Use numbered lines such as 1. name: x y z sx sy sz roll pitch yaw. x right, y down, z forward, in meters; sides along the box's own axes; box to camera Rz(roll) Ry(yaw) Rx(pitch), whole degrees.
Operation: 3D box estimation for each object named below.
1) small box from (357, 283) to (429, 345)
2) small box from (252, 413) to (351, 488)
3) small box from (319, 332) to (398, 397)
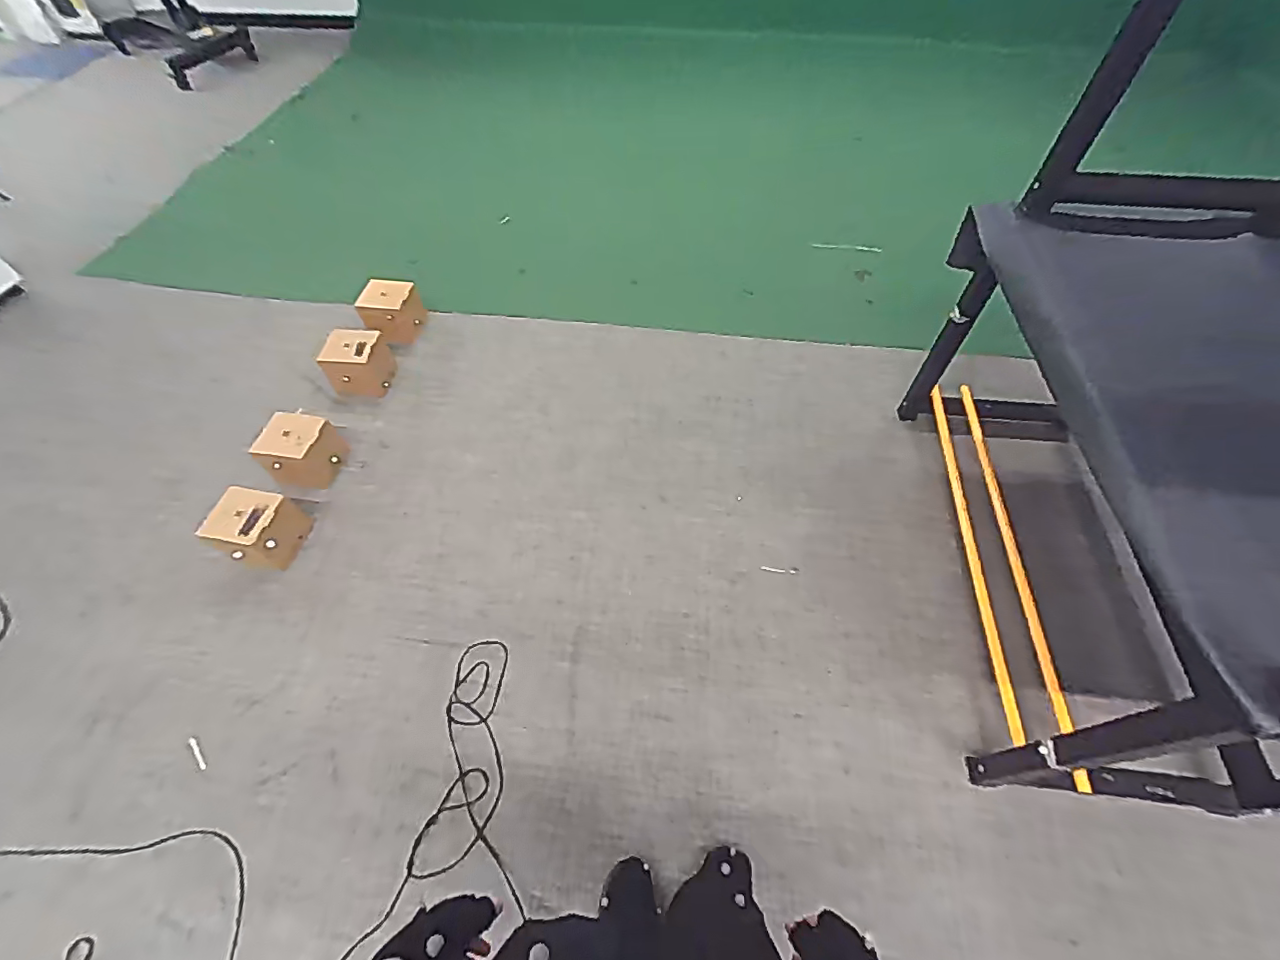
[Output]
1. small box: -0.965 -0.651 2.127 0.179 0.176 0.168 6 56 4
2. small box: -1.073 -0.091 1.730 0.179 0.176 0.168 8 56 5
3. small box: -1.010 -0.415 1.960 0.179 0.176 0.168 2 55 3
